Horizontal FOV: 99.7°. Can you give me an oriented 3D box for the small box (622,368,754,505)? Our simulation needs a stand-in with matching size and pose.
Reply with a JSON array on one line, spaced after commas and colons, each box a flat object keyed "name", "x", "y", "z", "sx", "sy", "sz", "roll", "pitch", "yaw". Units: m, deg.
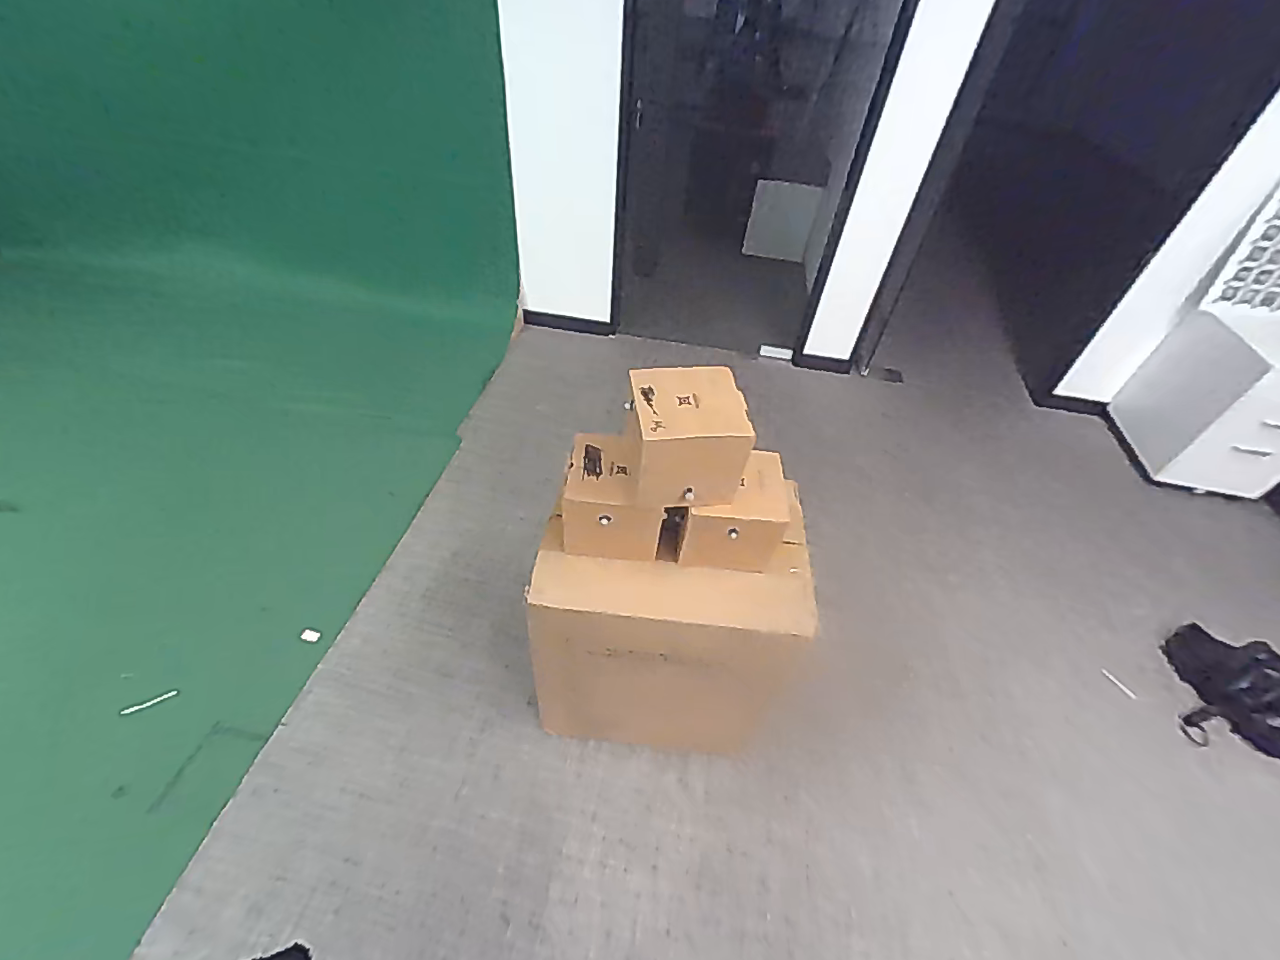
[{"name": "small box", "x": 0.070, "y": -0.071, "z": 0.917, "sx": 0.179, "sy": 0.176, "sz": 0.168, "roll": -2, "pitch": 50, "yaw": -10}]

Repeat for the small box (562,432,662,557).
[{"name": "small box", "x": -0.048, "y": 0.031, "z": 1.033, "sx": 0.179, "sy": 0.176, "sz": 0.168, "roll": 6, "pitch": 49, "yaw": -1}]
